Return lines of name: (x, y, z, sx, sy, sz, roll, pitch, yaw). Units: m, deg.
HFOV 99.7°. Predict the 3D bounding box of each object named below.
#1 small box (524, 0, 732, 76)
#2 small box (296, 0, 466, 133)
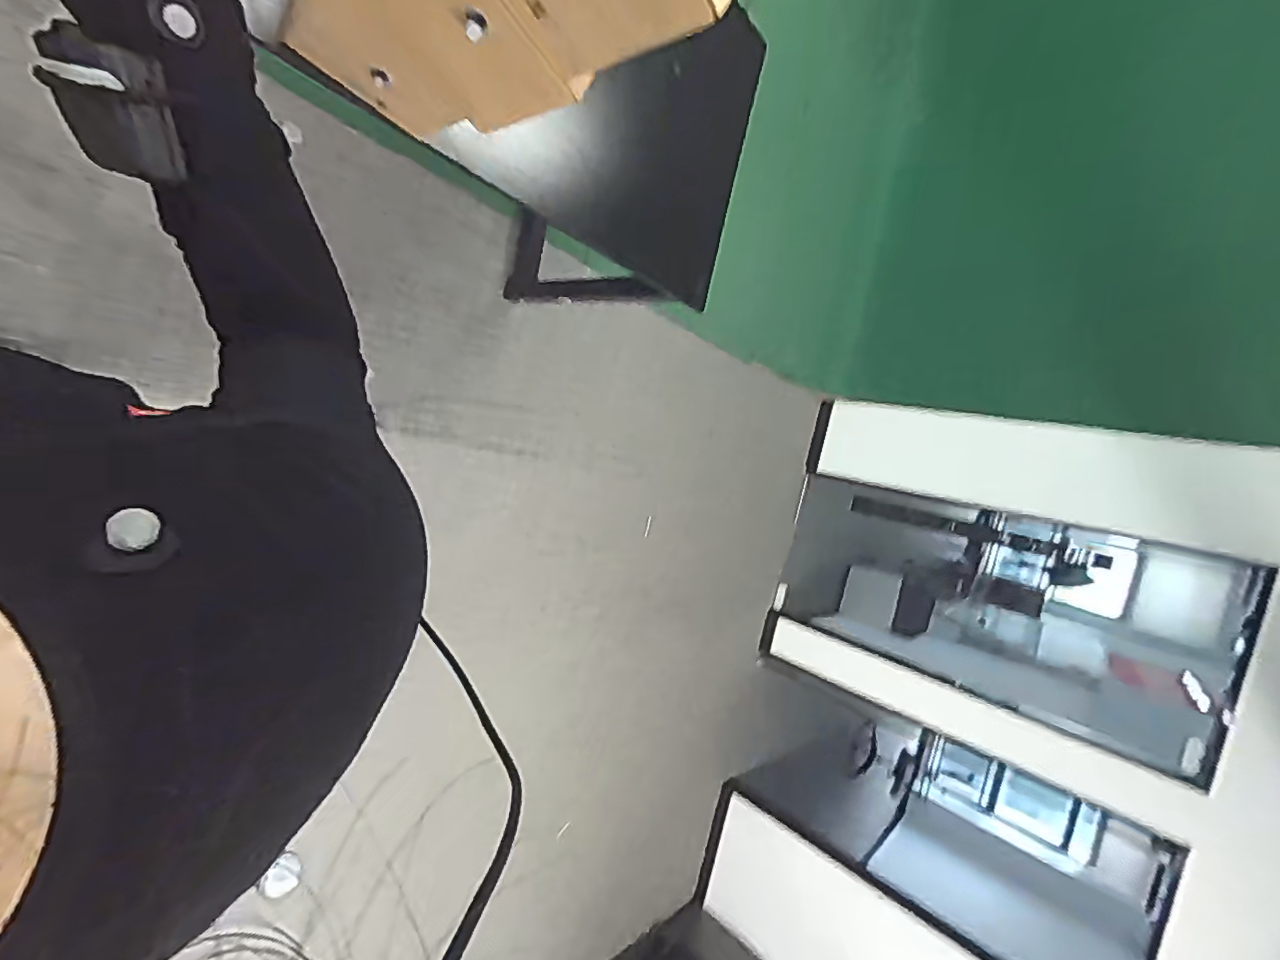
small box: (-0.011, -0.451, 0.398, 0.168, 0.176, 0.179, 34, 78, -47)
small box: (-0.253, -0.529, 0.602, 0.168, 0.176, 0.179, 18, 89, -51)
